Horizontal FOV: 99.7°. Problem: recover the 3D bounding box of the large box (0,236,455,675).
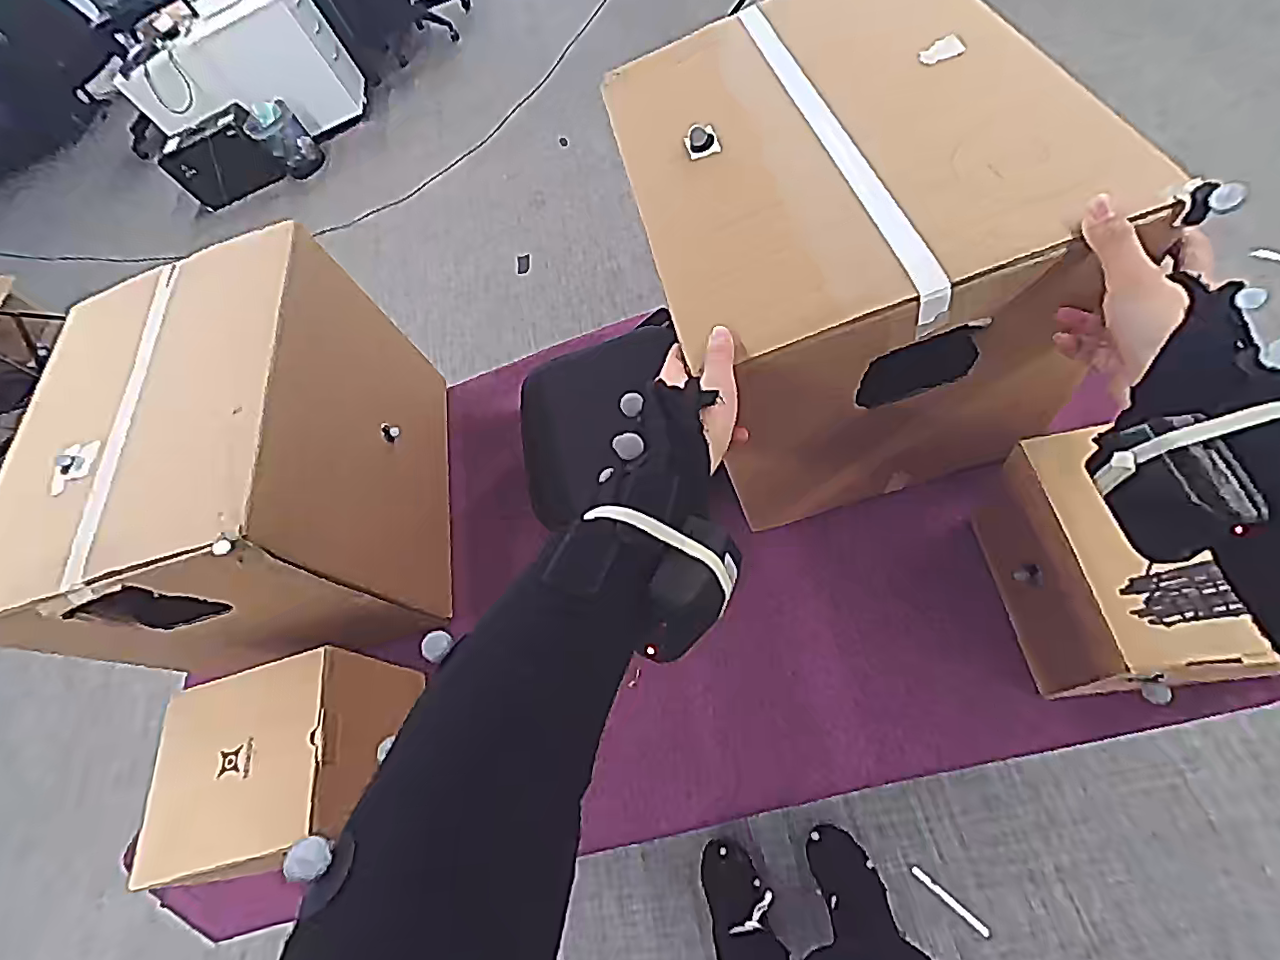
[{"bbox_3d":[-0.458,-0.008,0.678,0.320,0.320,0.408,-18,63,8],"label":"large box"}]
